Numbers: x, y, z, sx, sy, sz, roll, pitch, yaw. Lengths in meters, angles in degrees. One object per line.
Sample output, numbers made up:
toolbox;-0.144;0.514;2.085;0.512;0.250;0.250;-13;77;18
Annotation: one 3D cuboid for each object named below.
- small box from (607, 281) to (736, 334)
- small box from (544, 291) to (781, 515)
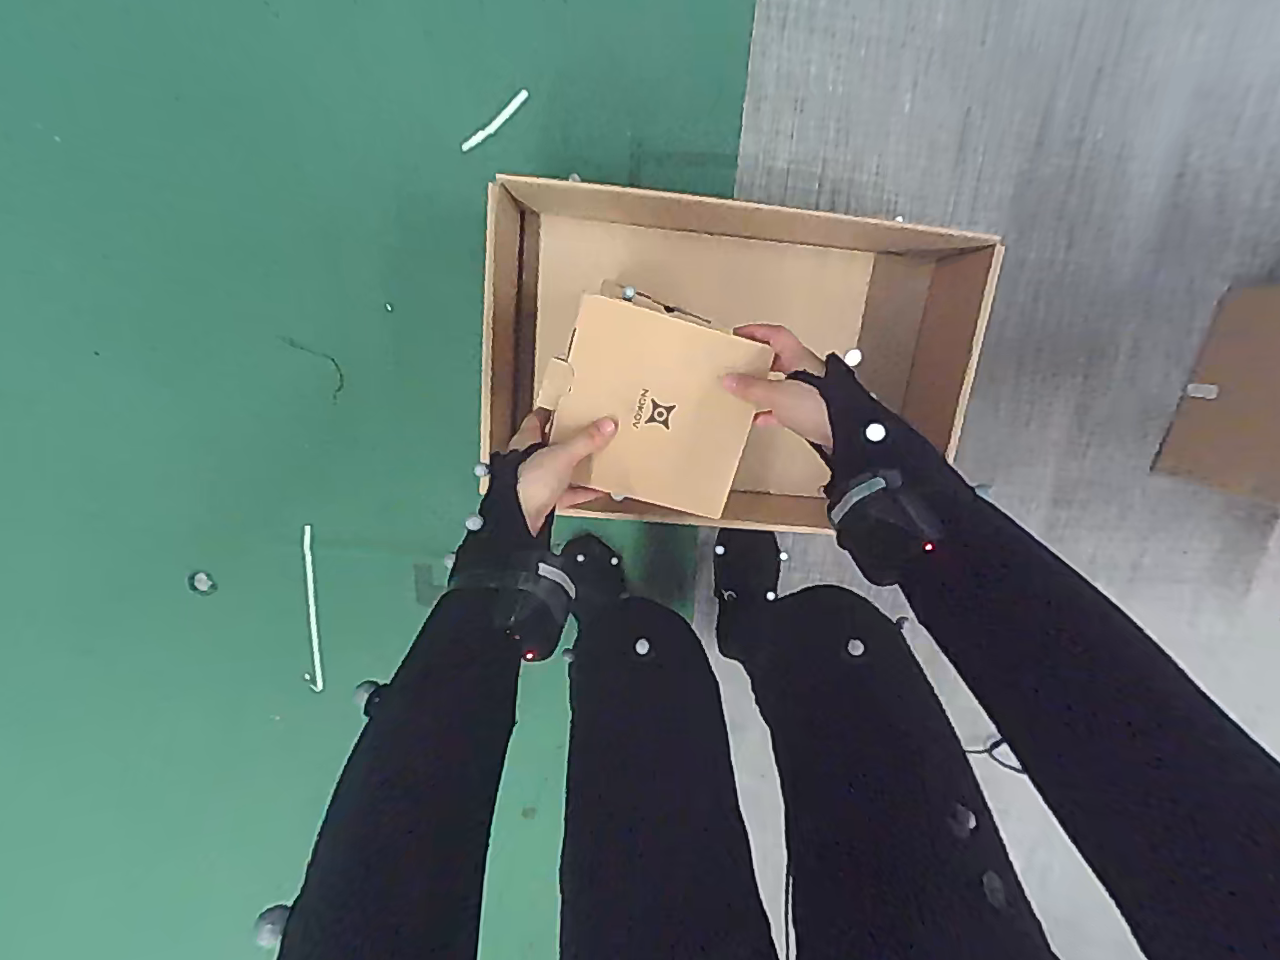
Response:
small box;0.004;-0.144;0.724;0.168;0.176;0.179;19;103;-8
small box;0.013;-0.084;0.552;0.179;0.176;0.168;14;104;-8
